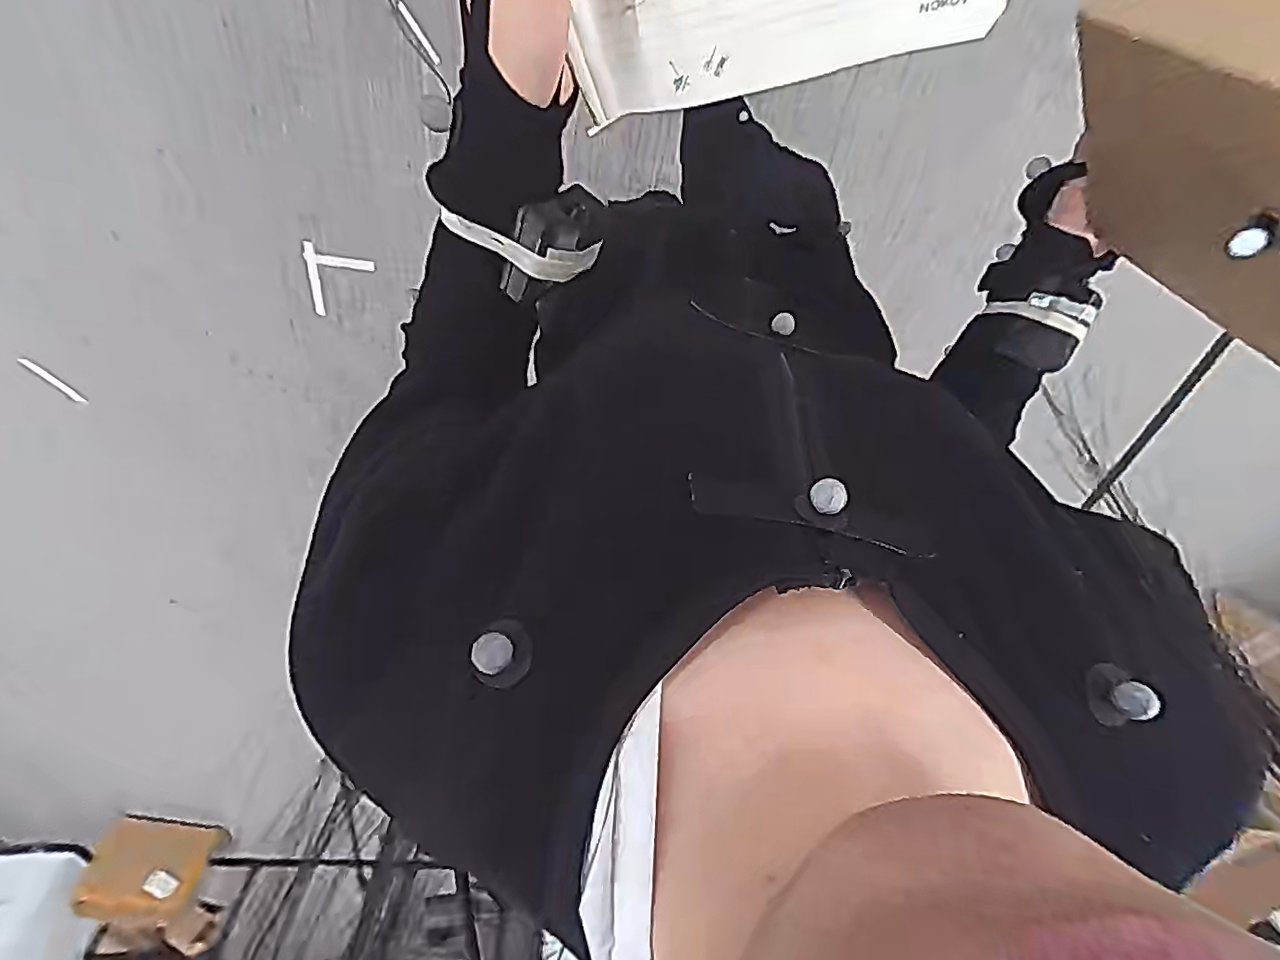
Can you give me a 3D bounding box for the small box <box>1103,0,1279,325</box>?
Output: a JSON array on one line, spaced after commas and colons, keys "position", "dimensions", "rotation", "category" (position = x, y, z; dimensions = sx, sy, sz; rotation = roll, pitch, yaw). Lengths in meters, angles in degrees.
[{"position": [0.356, -0.191, 0.245], "dimensions": [0.168, 0.176, 0.179], "rotation": [-34, 140, 25], "category": "small box"}]
